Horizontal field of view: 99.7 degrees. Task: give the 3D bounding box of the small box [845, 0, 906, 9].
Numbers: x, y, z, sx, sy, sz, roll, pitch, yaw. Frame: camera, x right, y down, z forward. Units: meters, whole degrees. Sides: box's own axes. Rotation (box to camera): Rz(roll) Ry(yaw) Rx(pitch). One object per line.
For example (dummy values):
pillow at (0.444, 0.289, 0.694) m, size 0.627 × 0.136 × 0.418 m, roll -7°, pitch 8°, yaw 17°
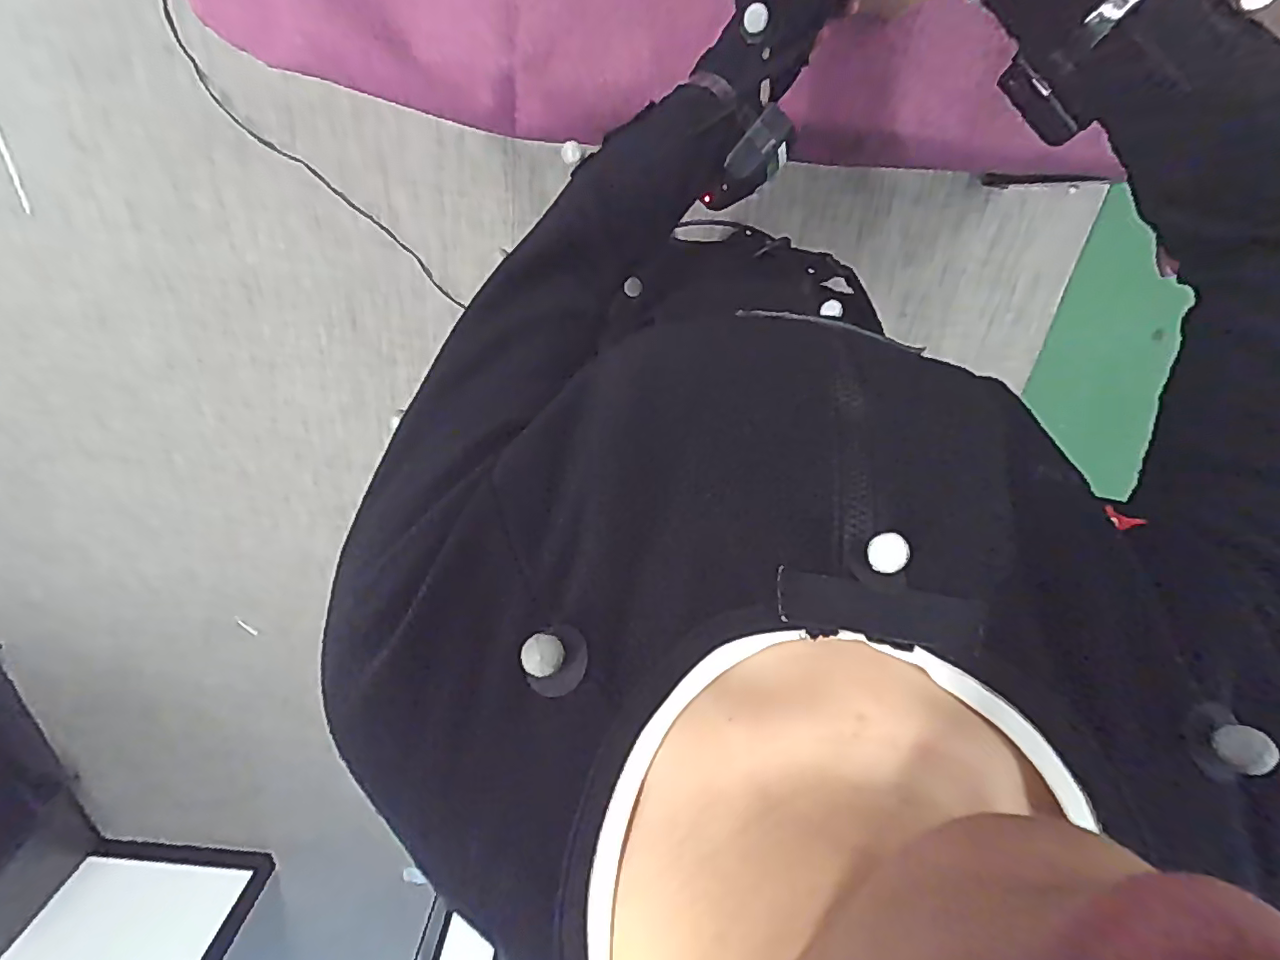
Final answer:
small box at (0.177, -0.493, 0.404) m, size 0.168 × 0.176 × 0.179 m, roll 9°, pitch 118°, yaw -2°
